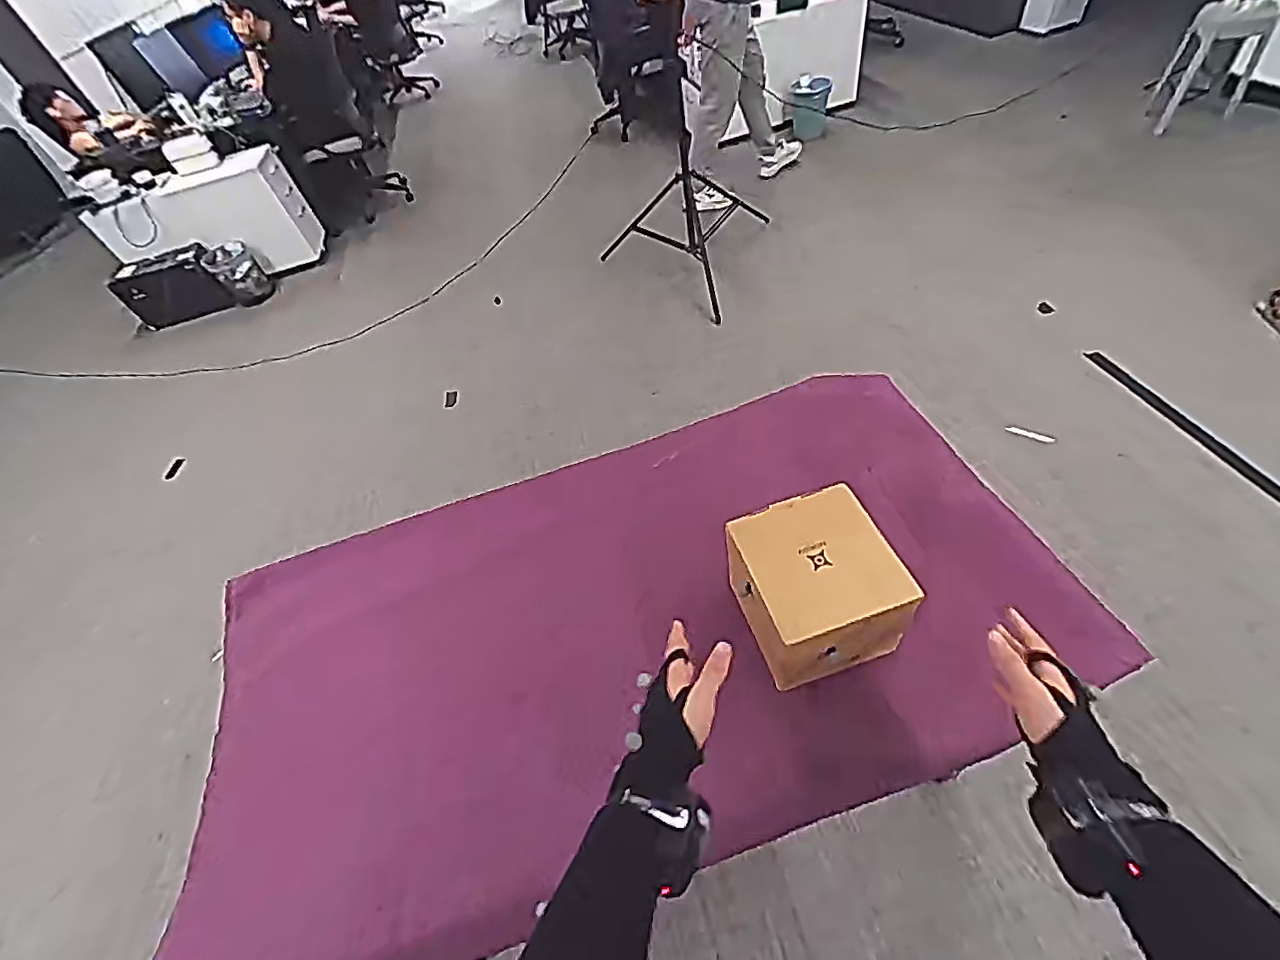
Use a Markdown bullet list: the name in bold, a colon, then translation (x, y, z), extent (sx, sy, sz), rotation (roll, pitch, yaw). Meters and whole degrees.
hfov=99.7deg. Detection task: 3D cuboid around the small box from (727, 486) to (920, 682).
- **small box**: translation (0.225, 0.144, 0.705), extent (0.168, 0.176, 0.179), rotation (-19, 50, -3)
